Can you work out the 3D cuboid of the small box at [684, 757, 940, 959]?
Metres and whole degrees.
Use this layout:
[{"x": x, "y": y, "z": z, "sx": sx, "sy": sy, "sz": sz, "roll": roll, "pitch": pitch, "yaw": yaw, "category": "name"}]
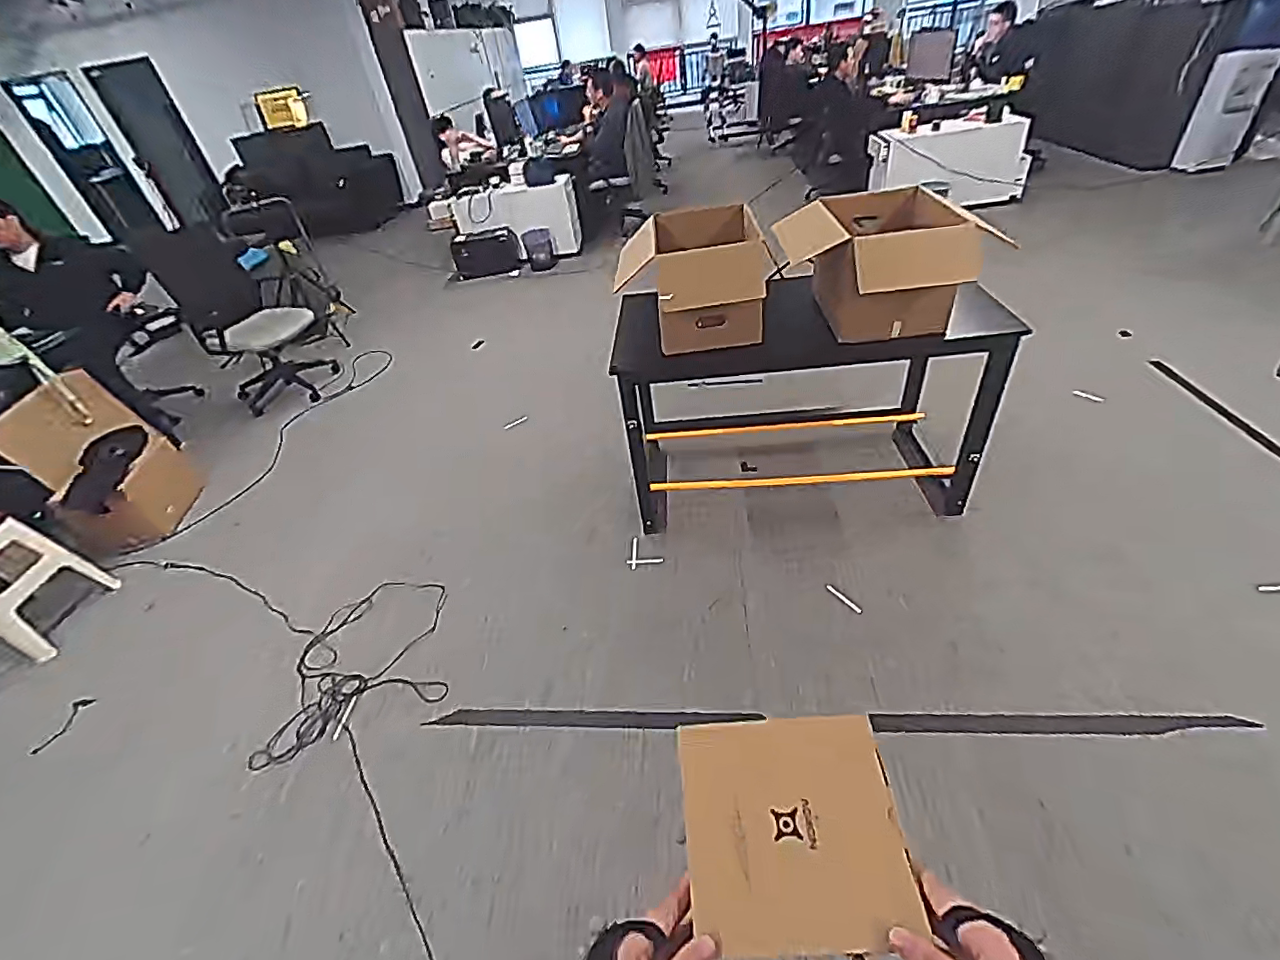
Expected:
[{"x": 0.136, "y": 0.365, "z": 0.488, "sx": 0.179, "sy": 0.176, "sz": 0.168, "roll": -7, "pitch": 49, "yaw": 3, "category": "small box"}]
